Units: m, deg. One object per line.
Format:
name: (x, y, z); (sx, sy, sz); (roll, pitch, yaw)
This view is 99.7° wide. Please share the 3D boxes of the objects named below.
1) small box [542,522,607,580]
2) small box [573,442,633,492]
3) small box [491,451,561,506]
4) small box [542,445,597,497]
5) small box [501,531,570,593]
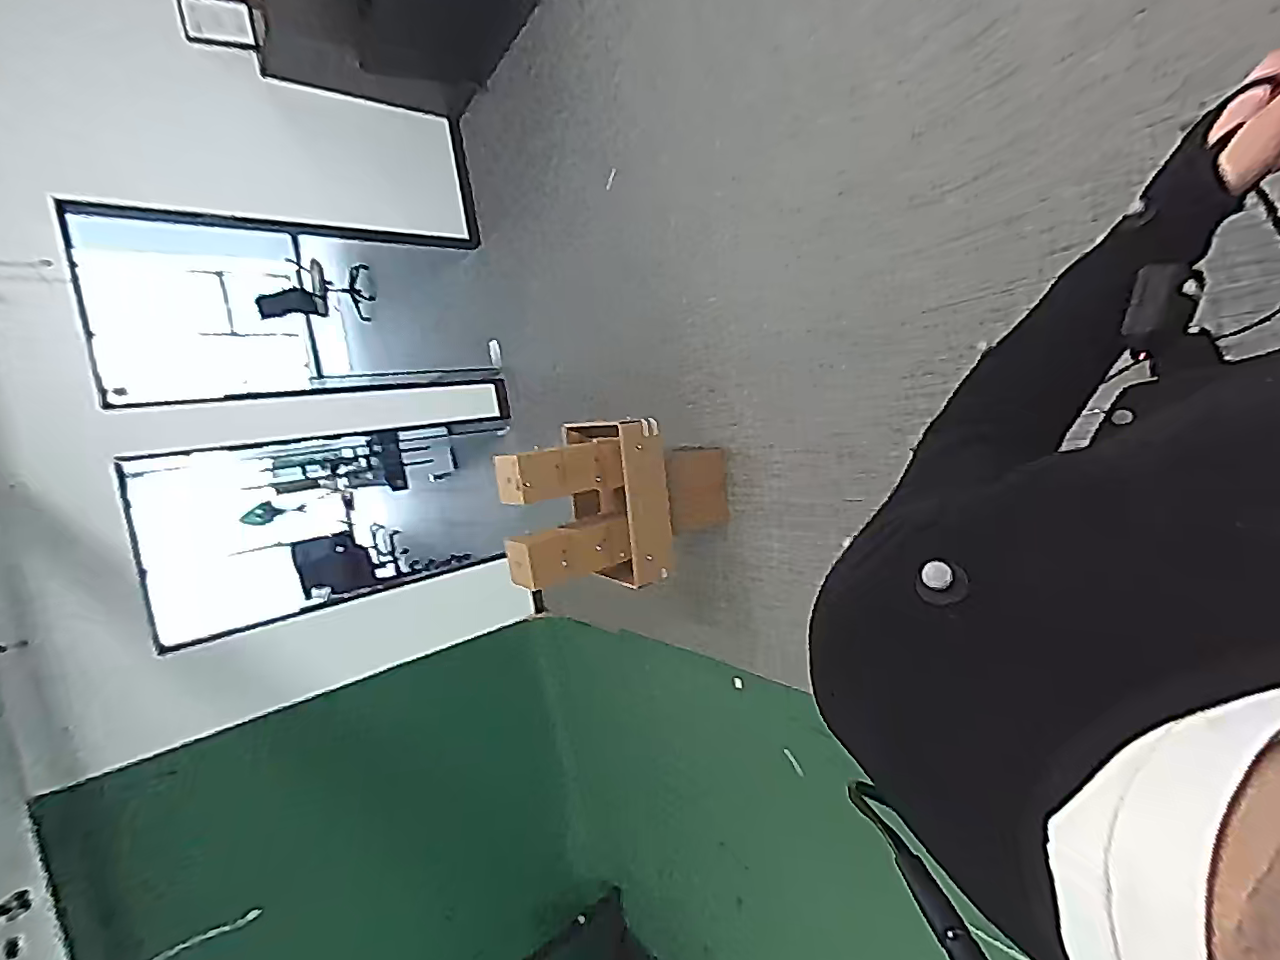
small box: (-0.243, 0.256, 1.999); (0.179, 0.176, 0.168); (1, 101, 51)
small box: (-0.145, -0.054, 2.065); (0.179, 0.176, 0.168); (7, 104, 49)
small box: (-0.389, -0.009, 1.851); (0.179, 0.176, 0.168); (0, 100, 51)
small box: (-0.267, -0.036, 1.957); (0.179, 0.176, 0.168); (0, 99, 51)
small box: (-0.367, 0.282, 1.897); (0.179, 0.176, 0.168); (2, 102, 51)
